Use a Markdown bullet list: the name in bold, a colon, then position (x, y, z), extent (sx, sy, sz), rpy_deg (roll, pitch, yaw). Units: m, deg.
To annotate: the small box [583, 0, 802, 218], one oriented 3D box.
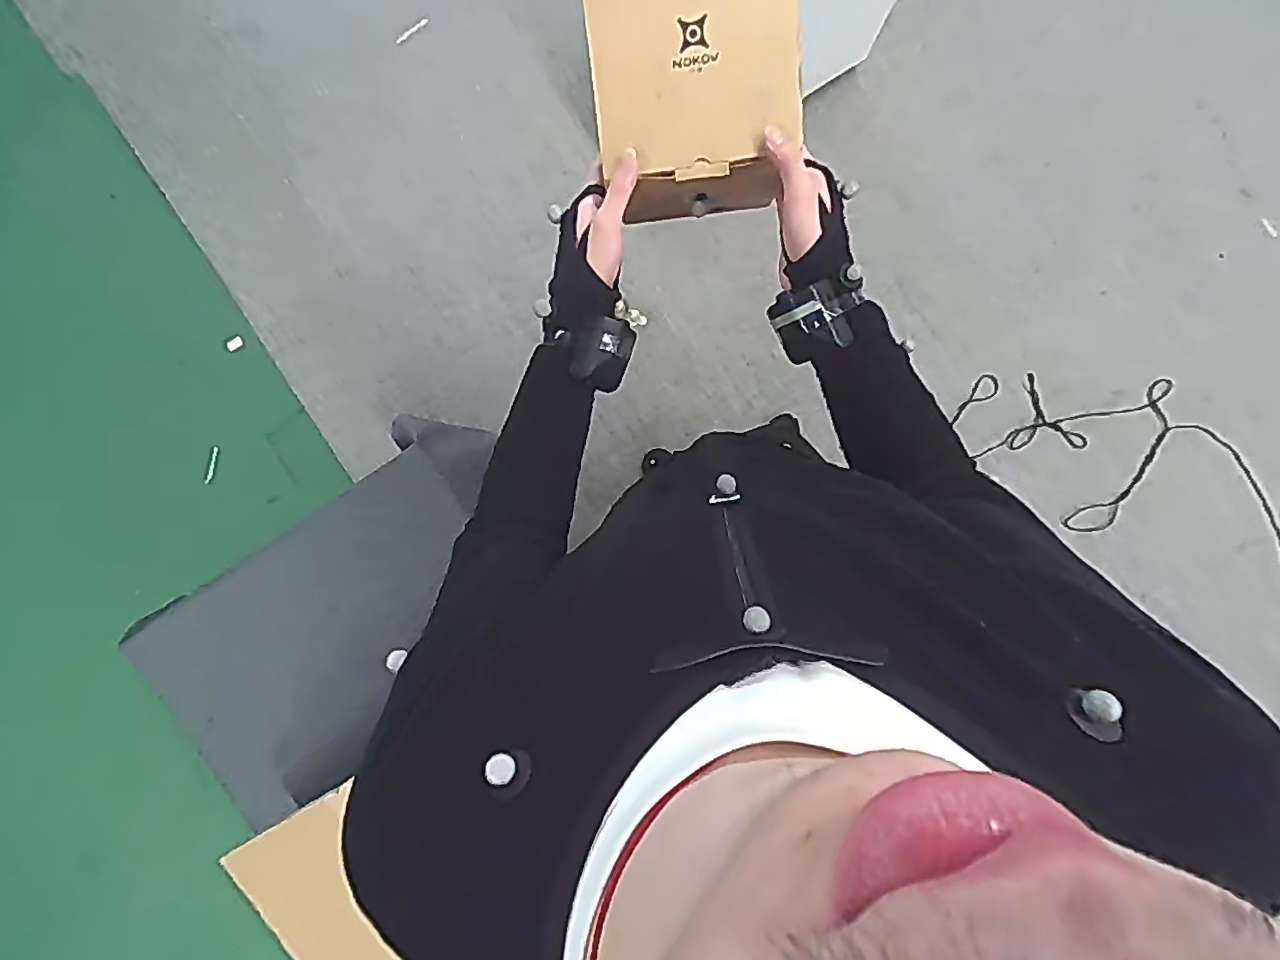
- **small box**: position (0.049, -0.361, 0.507), extent (0.168, 0.176, 0.179), rpy_deg (-7, 103, 7)
